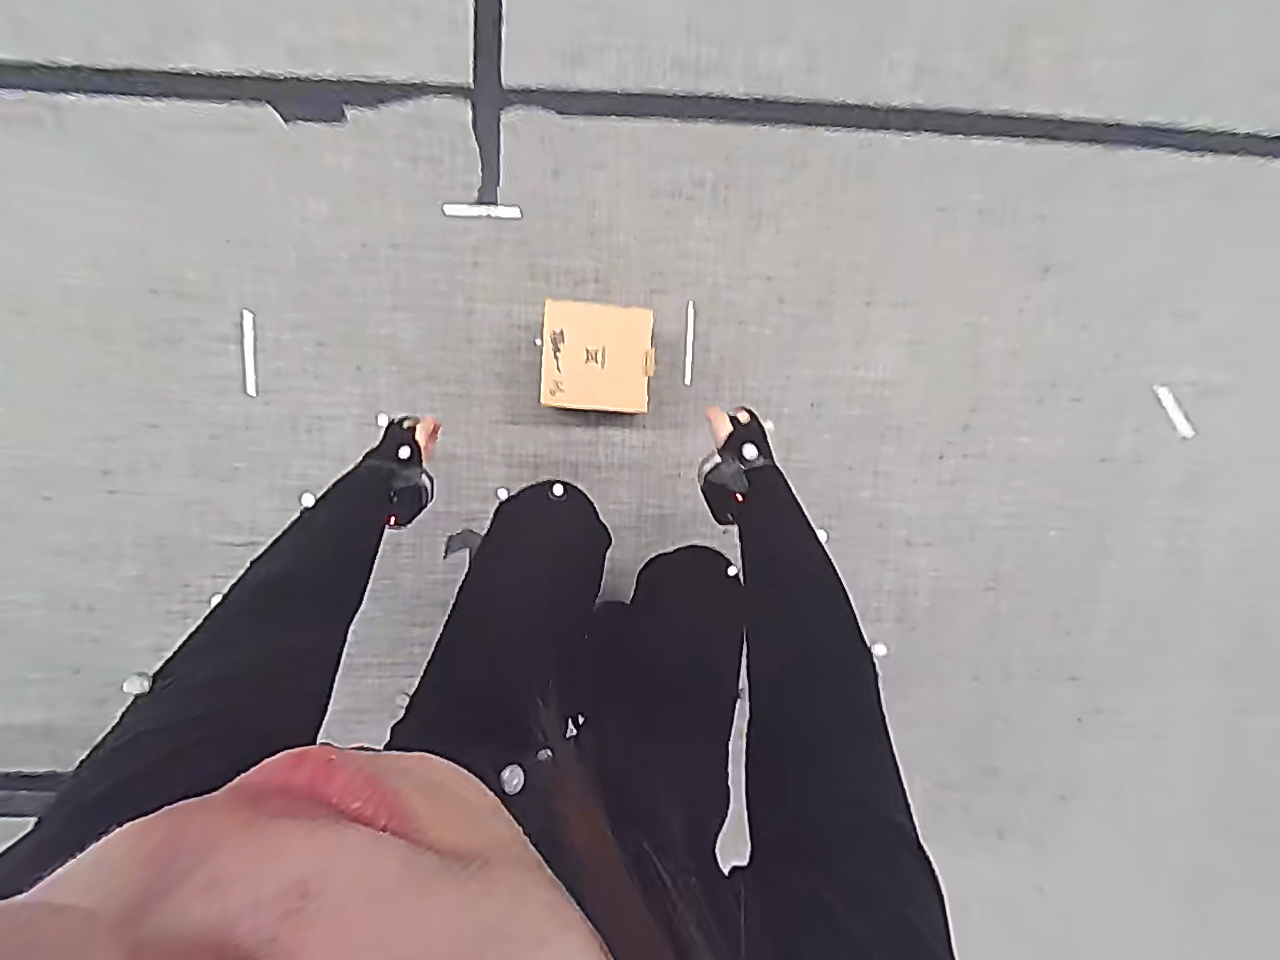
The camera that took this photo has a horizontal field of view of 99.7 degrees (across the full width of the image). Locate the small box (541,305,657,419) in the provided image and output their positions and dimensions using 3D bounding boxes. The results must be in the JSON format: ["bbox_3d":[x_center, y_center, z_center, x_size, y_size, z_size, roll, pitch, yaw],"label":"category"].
[{"bbox_3d":[-0.073,-0.197,0.940,0.179,0.176,0.168,4,96,-6],"label":"small box"}]
